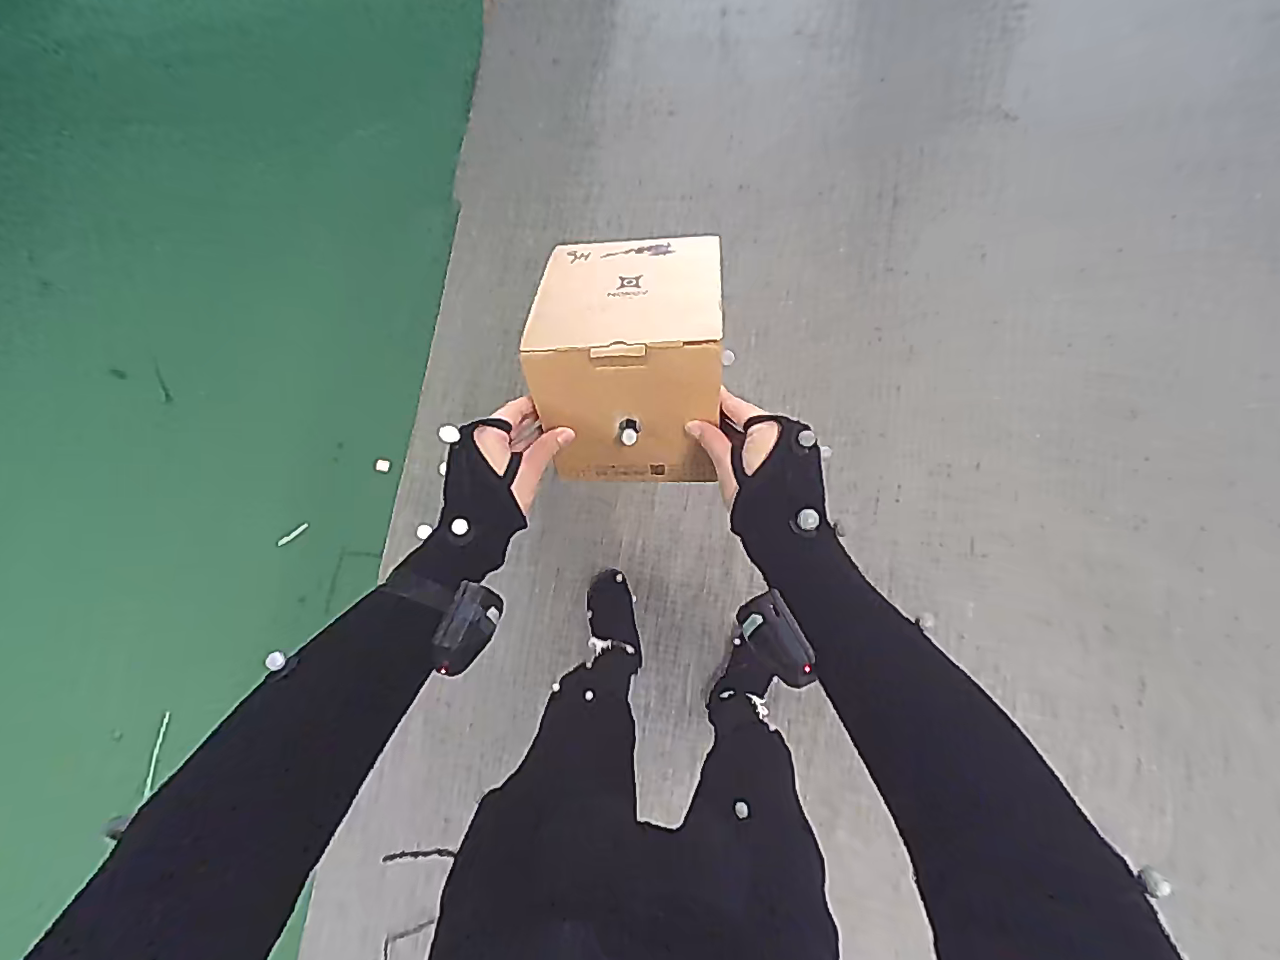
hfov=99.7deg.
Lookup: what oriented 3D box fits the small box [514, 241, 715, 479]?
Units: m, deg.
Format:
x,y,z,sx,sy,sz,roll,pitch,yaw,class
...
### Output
x,y,z,sx,sy,sz,roll,pitch,yaw,class
-0.009,-0.113,0.544,0.168,0.176,0.179,-1,50,7,small box
